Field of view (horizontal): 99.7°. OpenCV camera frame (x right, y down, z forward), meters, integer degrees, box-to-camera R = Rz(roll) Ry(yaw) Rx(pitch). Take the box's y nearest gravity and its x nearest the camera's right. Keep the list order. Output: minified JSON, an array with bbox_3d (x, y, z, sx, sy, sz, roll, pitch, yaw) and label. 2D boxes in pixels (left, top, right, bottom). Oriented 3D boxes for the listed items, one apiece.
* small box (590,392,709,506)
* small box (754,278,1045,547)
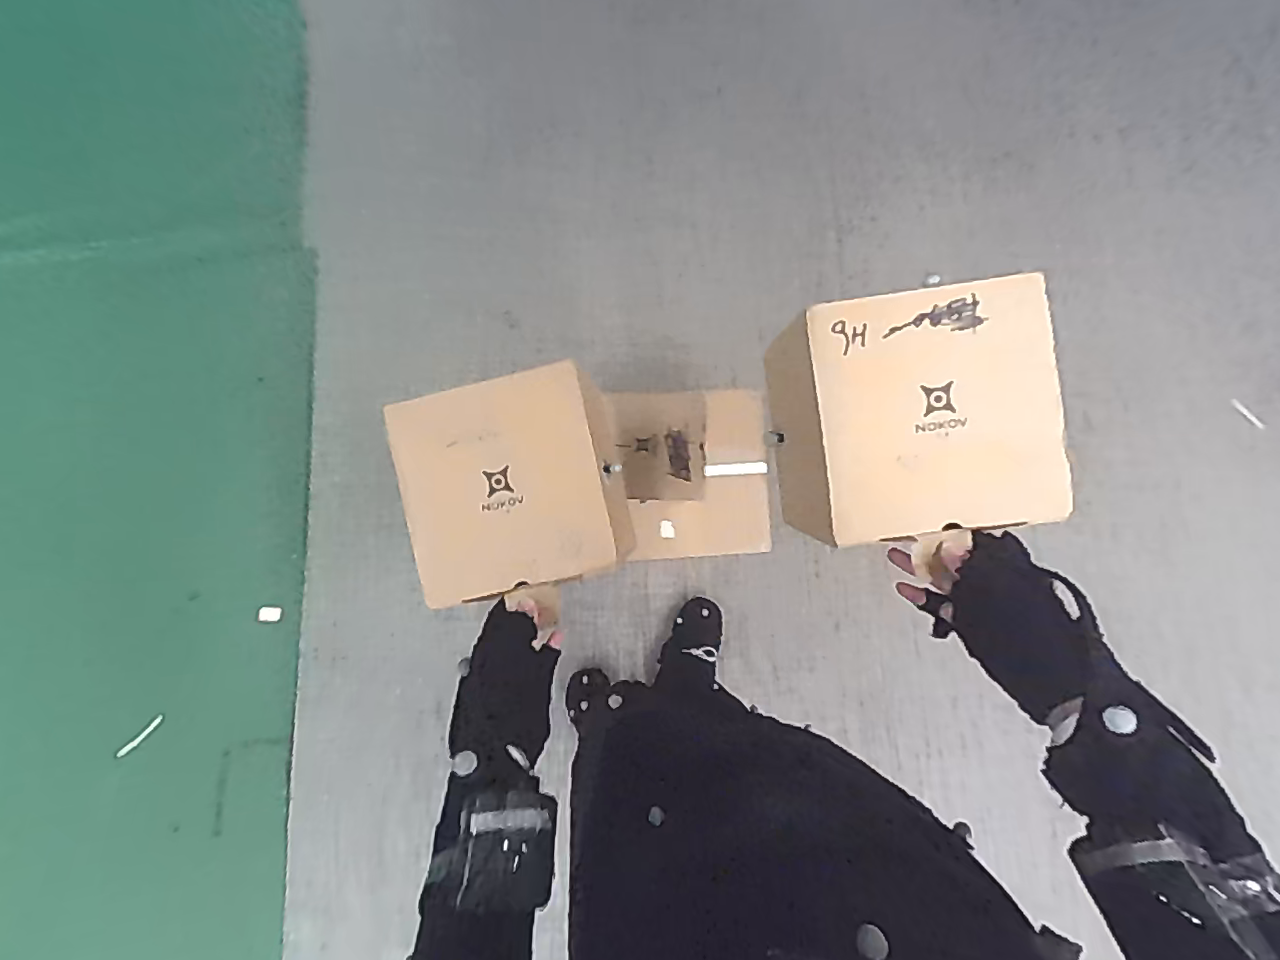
[{"bbox_3d":[0.013,-0.044,0.910,0.179,0.176,0.168,4,85,0],"label":"small box"},{"bbox_3d":[0.202,-0.051,0.467,0.168,0.176,0.179,-8,92,2],"label":"small box"}]
